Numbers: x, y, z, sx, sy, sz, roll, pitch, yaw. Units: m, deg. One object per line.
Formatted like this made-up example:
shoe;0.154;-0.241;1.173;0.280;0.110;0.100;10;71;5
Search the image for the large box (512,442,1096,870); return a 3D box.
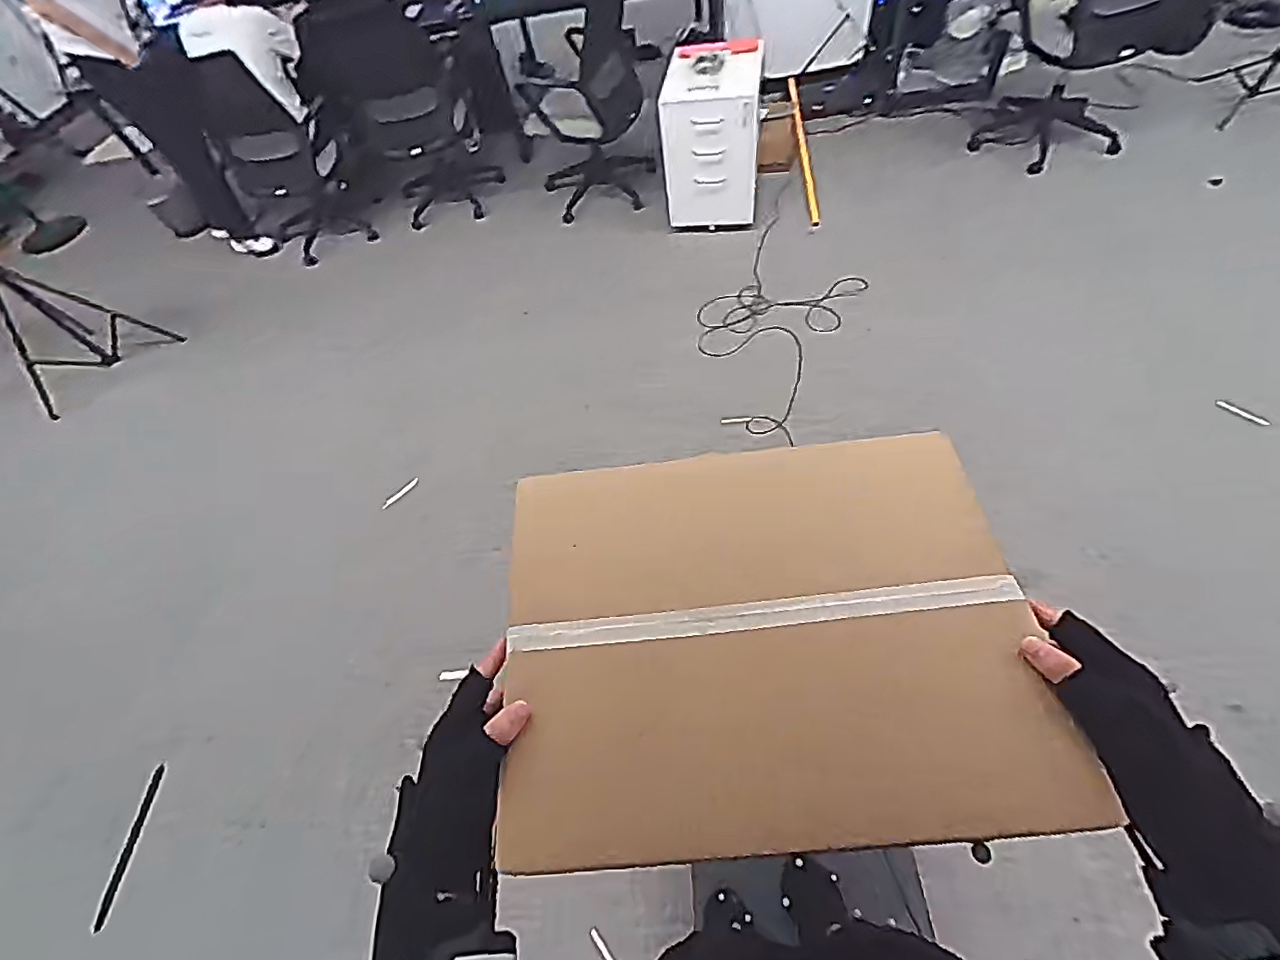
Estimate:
large box;0.113;0.193;0.569;0.408;0.320;0.320;-7;57;3
